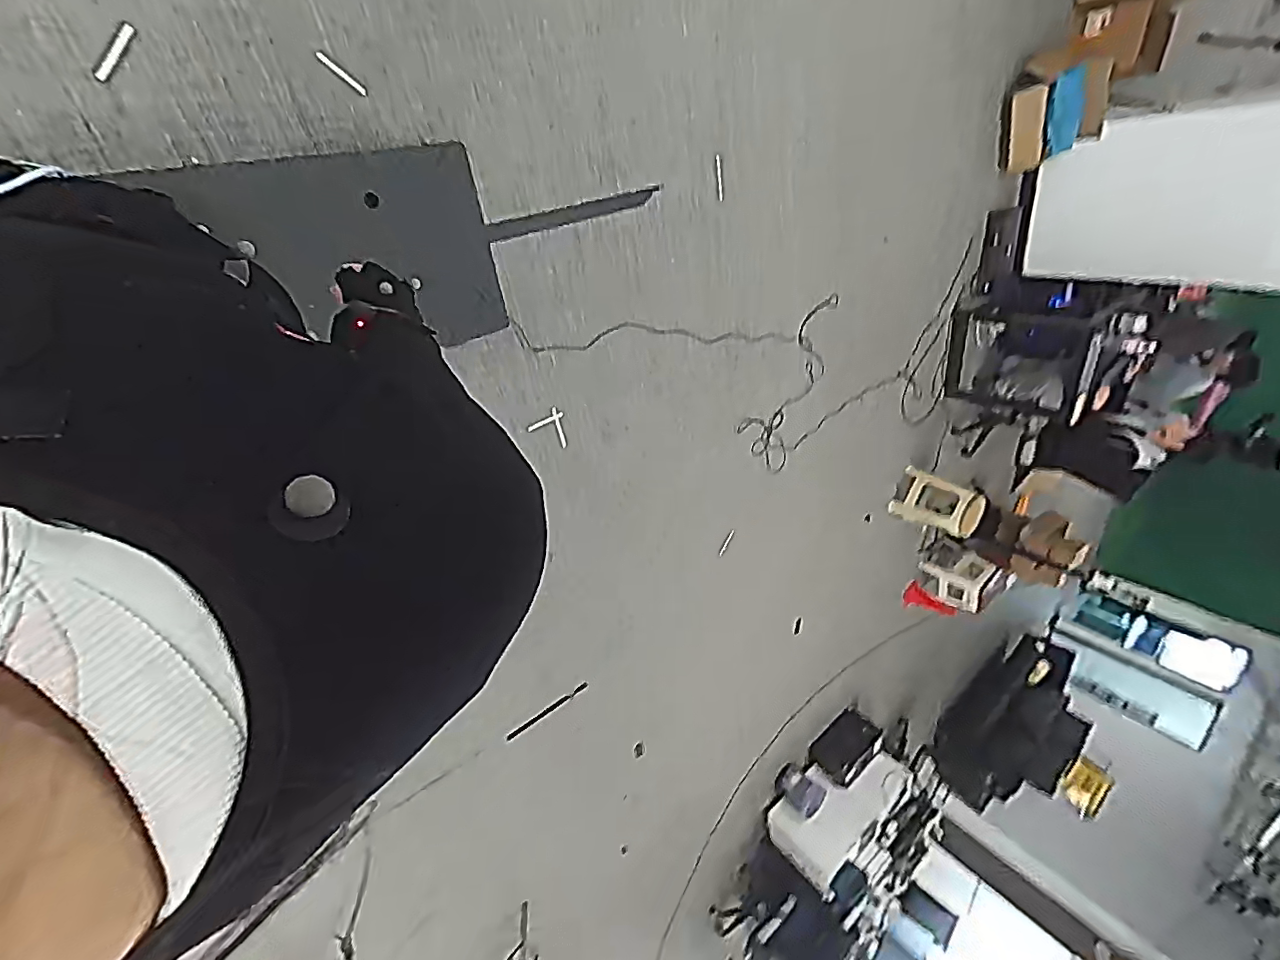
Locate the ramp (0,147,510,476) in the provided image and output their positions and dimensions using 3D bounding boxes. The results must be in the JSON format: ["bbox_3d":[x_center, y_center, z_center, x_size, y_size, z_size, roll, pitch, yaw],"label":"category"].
[{"bbox_3d":[-0.773,-0.447,1.262,0.991,0.206,0.509,-30,124,-27],"label":"ramp"}]
